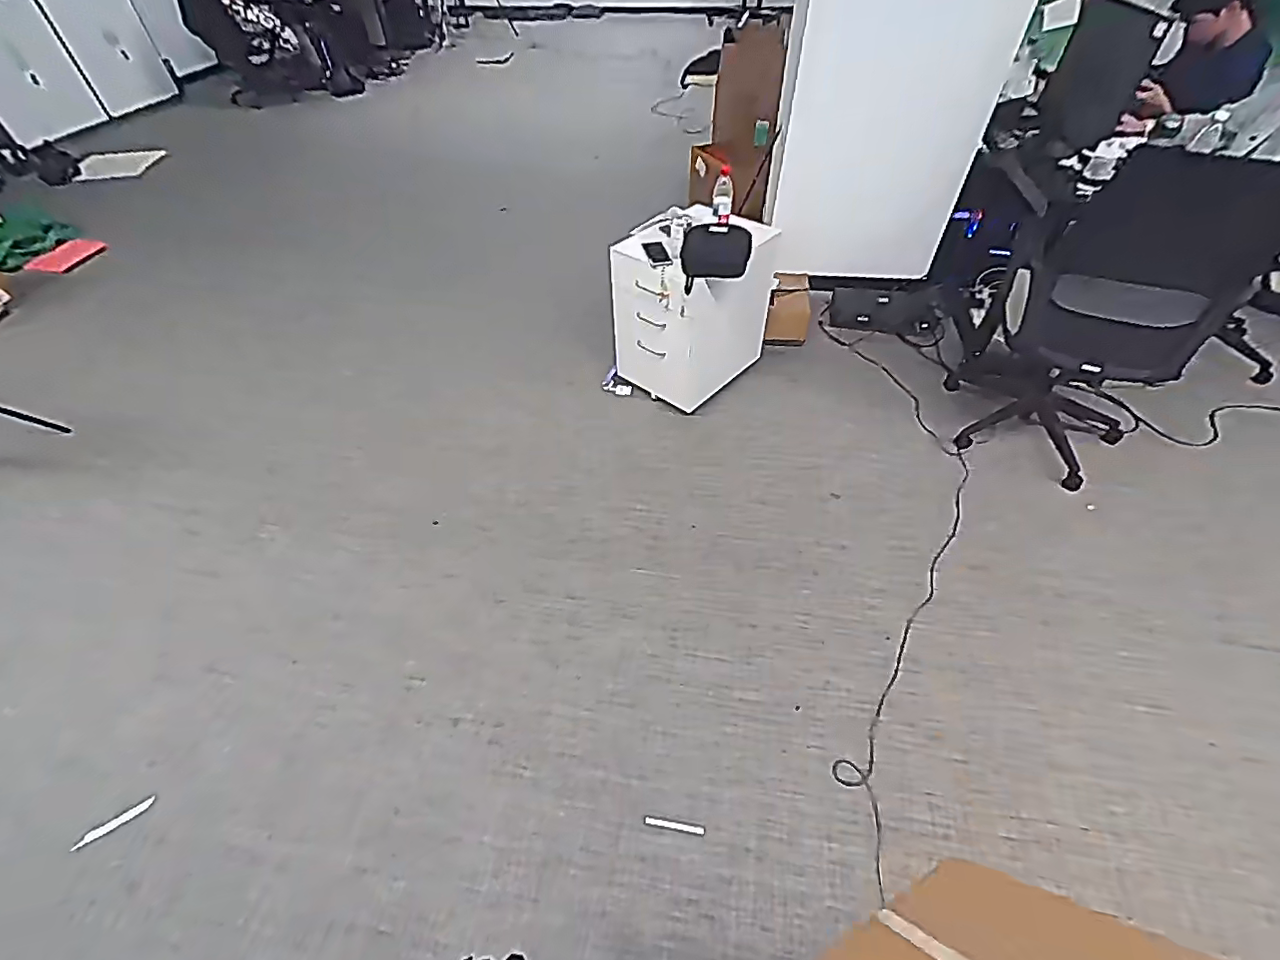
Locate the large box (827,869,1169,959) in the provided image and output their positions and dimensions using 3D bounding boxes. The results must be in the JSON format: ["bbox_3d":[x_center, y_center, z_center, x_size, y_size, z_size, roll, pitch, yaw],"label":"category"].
[{"bbox_3d":[0.457,0.730,0.599,0.320,0.408,0.320,-23,74,-18],"label":"large box"}]
